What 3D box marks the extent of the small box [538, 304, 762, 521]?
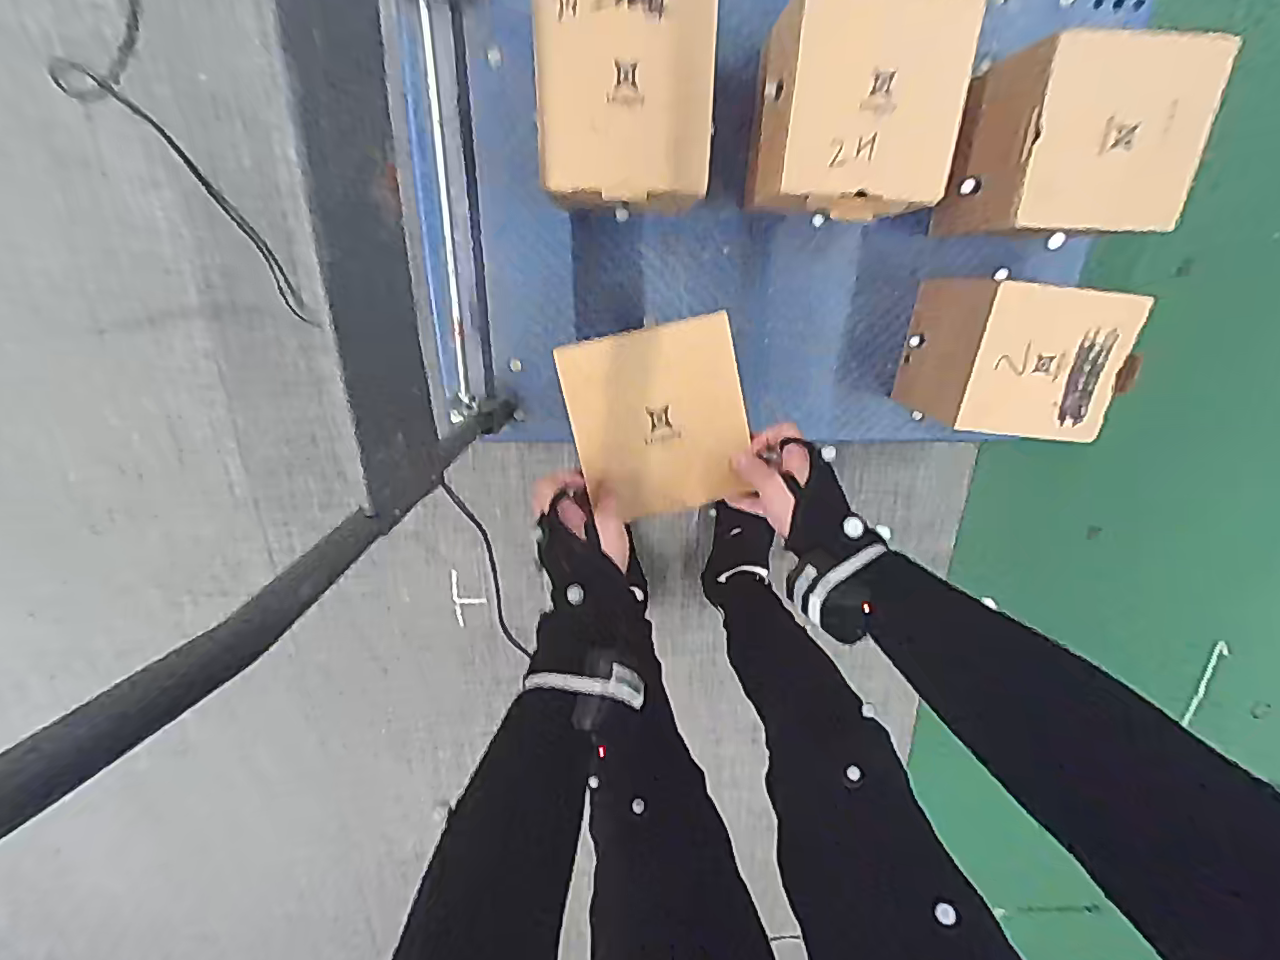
[{"bbox_3d":[0.002,-0.075,0.590,0.179,0.176,0.168,17,101,-9],"label":"small box"}]
